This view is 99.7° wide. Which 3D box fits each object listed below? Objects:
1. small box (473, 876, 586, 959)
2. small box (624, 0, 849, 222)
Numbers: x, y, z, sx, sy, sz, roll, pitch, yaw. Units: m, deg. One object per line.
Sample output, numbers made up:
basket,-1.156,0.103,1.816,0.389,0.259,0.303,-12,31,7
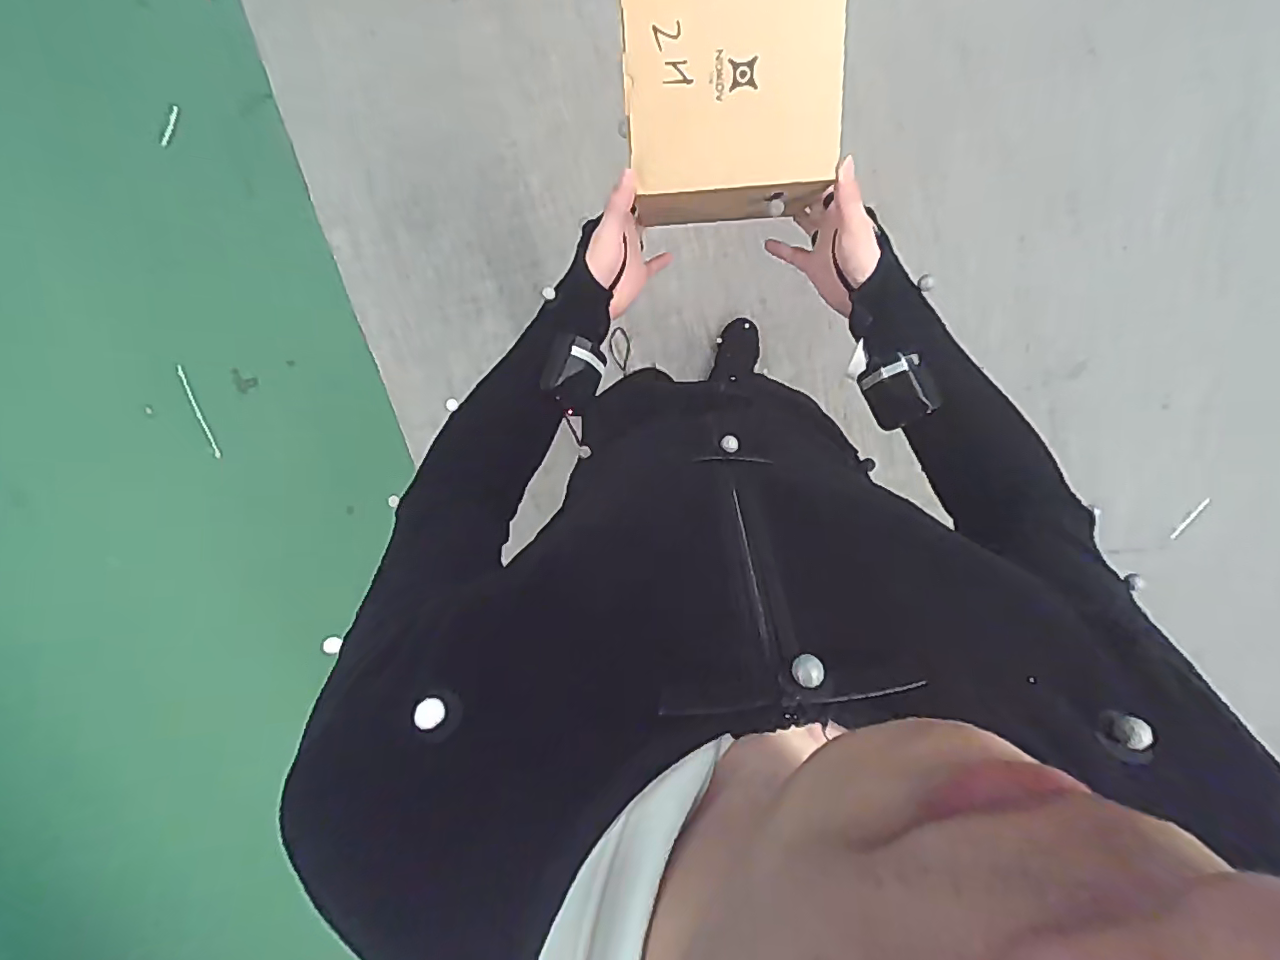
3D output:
small box,-0.216,0.956,1.113,0.179,0.176,0.168,-11,104,9
small box,0.081,-0.349,0.507,0.179,0.176,0.168,-2,106,5
